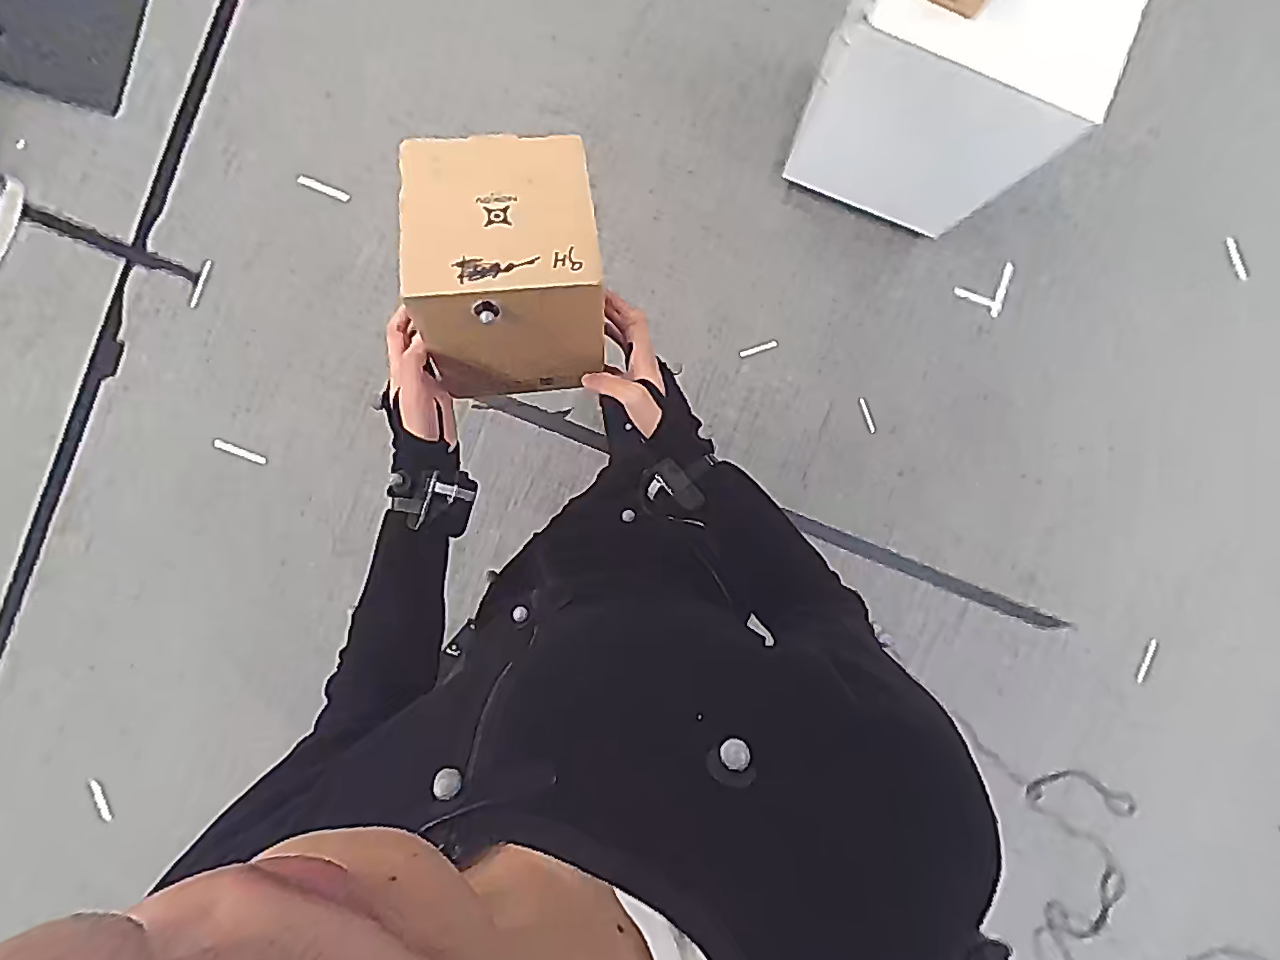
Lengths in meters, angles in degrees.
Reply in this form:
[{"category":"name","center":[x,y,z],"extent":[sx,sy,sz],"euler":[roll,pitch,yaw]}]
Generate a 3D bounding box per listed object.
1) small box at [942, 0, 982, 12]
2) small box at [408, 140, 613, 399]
[{"category":"small box","center":[0.609,-1.013,0.975],"extent":[0.168,0.176,0.179],"euler":[20,90,-4]},{"category":"small box","center":[-0.119,-0.202,0.542],"extent":[0.168,0.176,0.179],"euler":[-6,70,-6]}]
